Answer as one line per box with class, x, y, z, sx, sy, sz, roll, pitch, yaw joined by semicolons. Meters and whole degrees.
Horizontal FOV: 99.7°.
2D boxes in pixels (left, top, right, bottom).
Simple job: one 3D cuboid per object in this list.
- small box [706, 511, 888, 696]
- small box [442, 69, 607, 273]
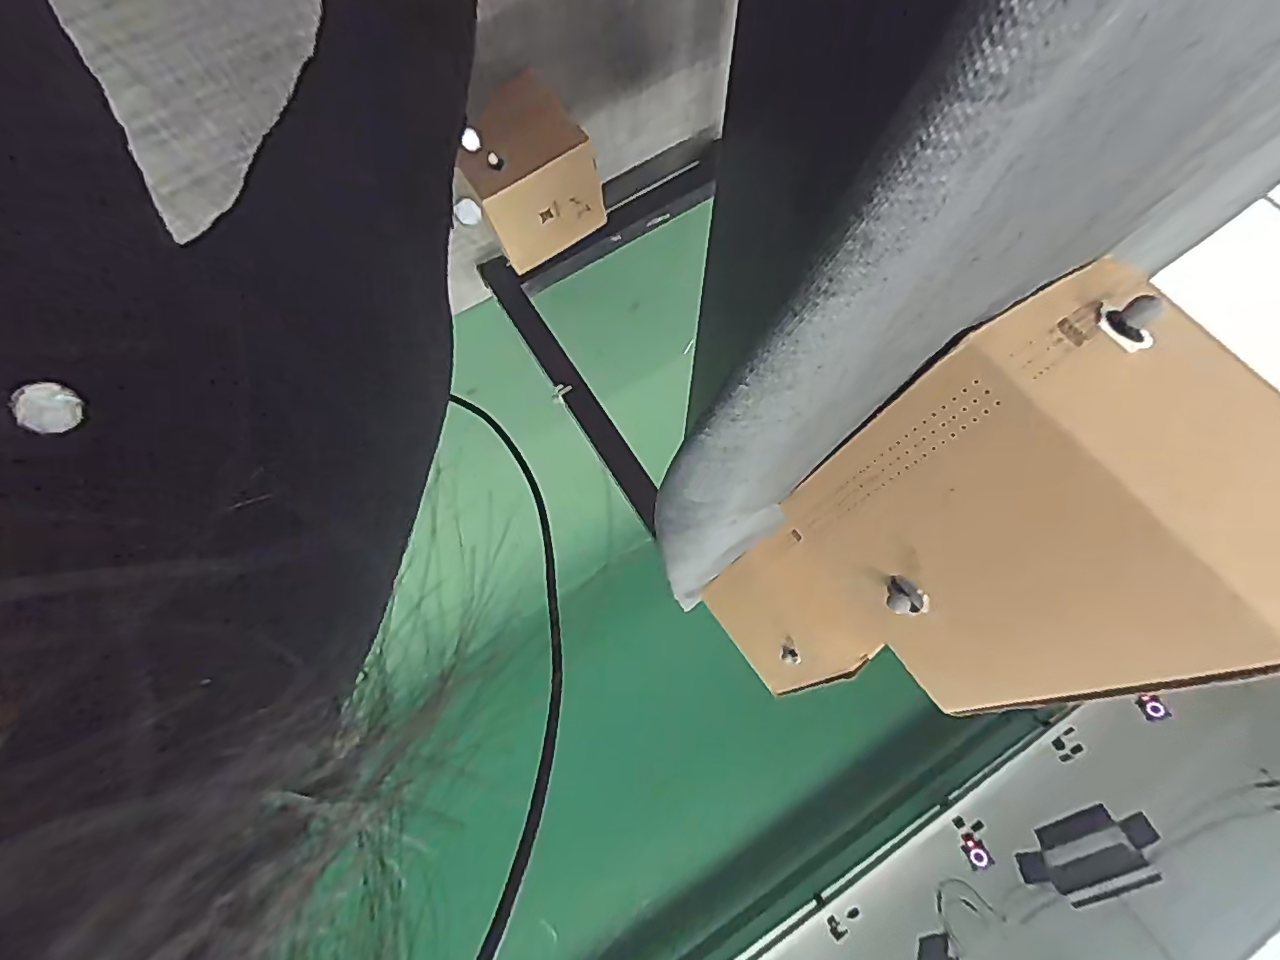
small box;0.211;0.142;0.687;0.168;0.176;0.179;-28;163;-28
small box;-0.175;-0.466;0.826;0.179;0.176;0.168;-33;165;-3
